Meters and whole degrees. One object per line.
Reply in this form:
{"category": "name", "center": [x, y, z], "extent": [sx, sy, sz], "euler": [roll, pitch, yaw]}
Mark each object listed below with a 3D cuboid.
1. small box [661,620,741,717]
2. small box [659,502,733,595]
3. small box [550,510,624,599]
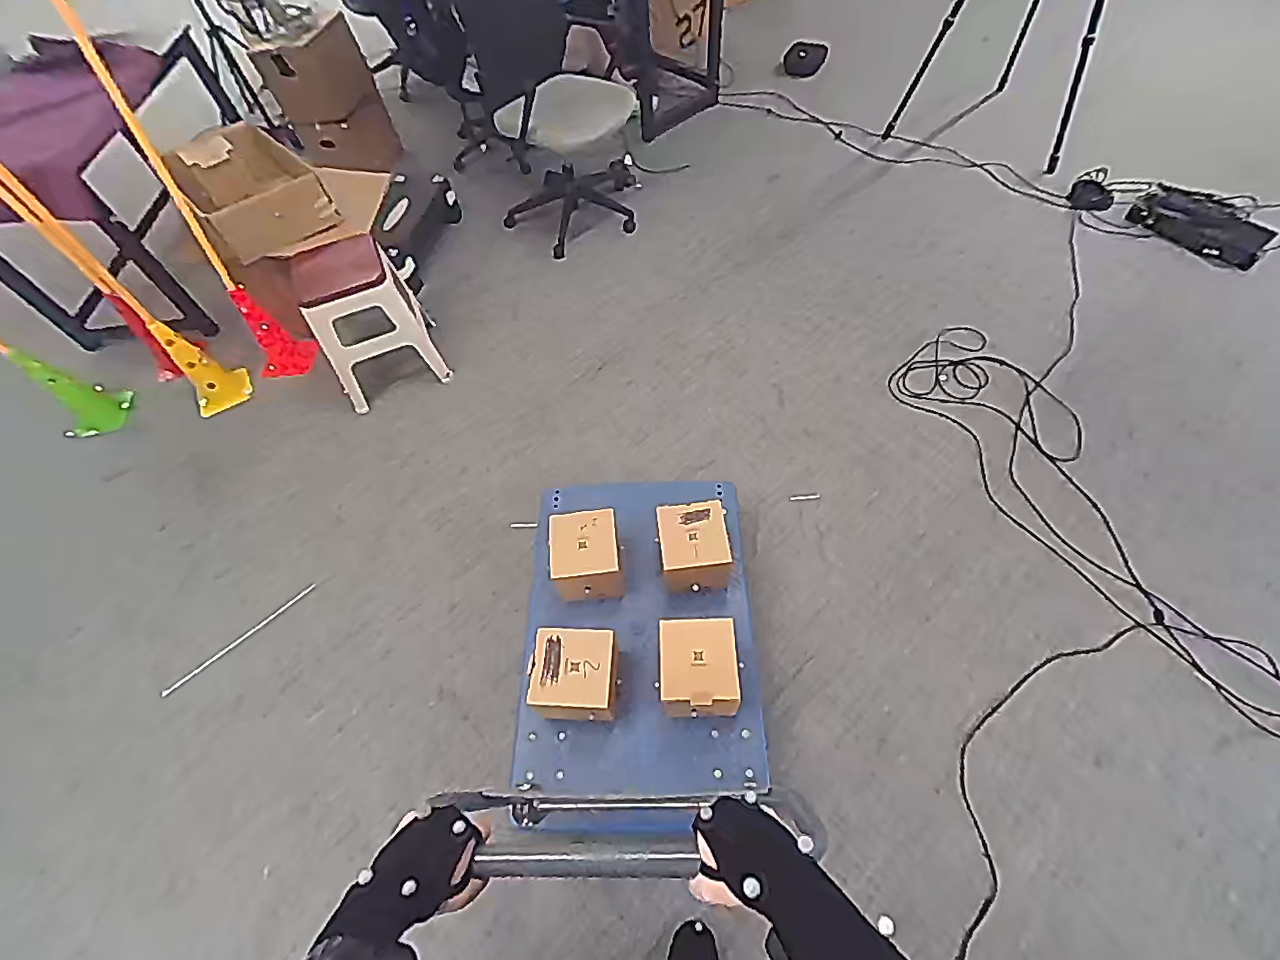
{"category": "small box", "center": [0.132, 0.429, 1.226], "extent": [0.168, 0.176, 0.179], "euler": [-2, 58, 3]}
{"category": "small box", "center": [0.137, 0.177, 1.385], "extent": [0.168, 0.176, 0.179], "euler": [-6, 58, 1]}
{"category": "small box", "center": [-0.134, 0.198, 1.390], "extent": [0.168, 0.176, 0.179], "euler": [-6, 57, -1]}
